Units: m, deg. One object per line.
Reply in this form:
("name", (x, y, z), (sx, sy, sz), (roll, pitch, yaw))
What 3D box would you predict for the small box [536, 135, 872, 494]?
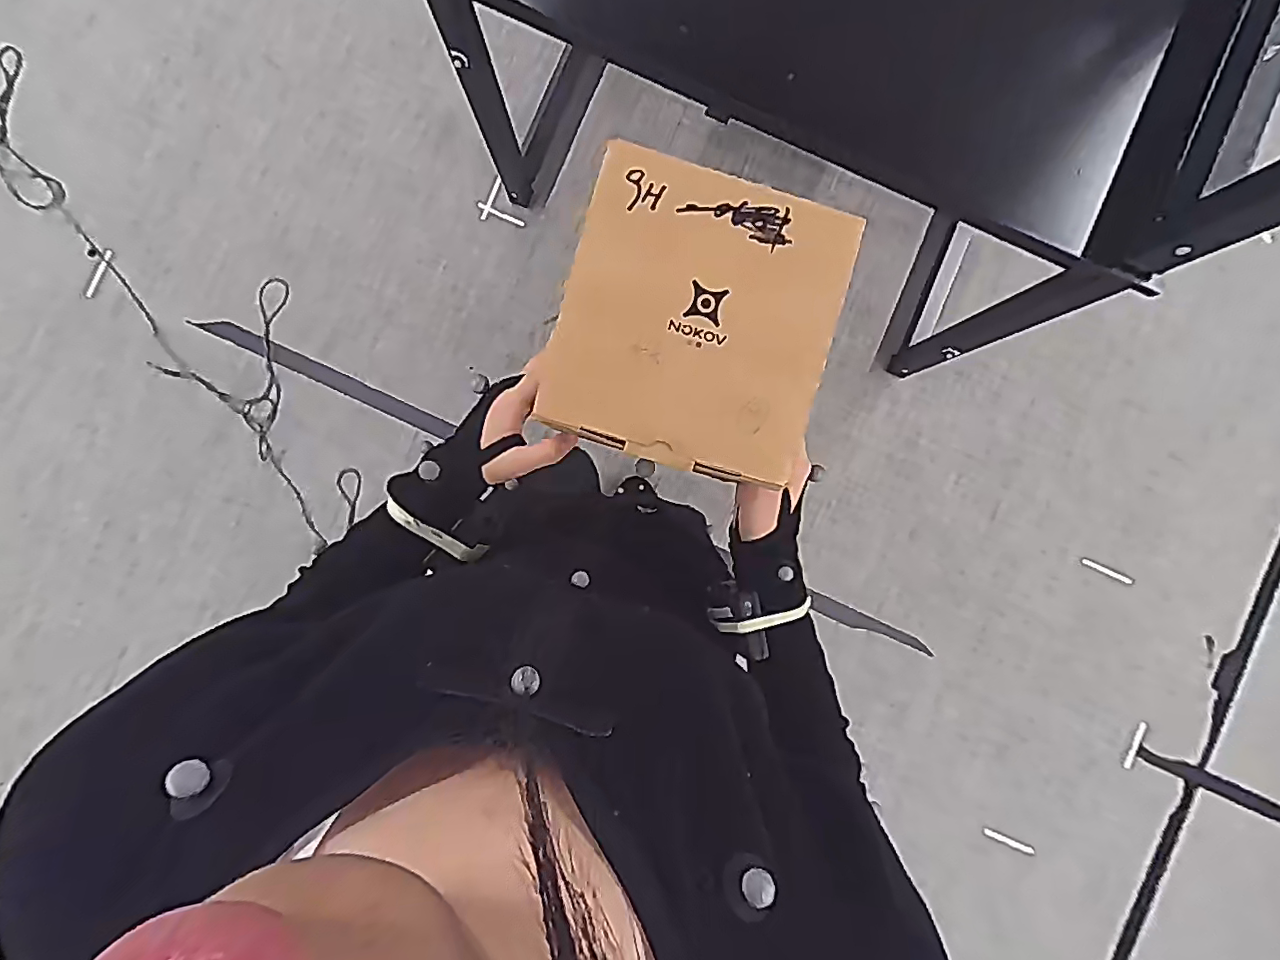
("small box", (0.035, -0.100, 0.402), (0.168, 0.176, 0.179), (16, 92, -4))
